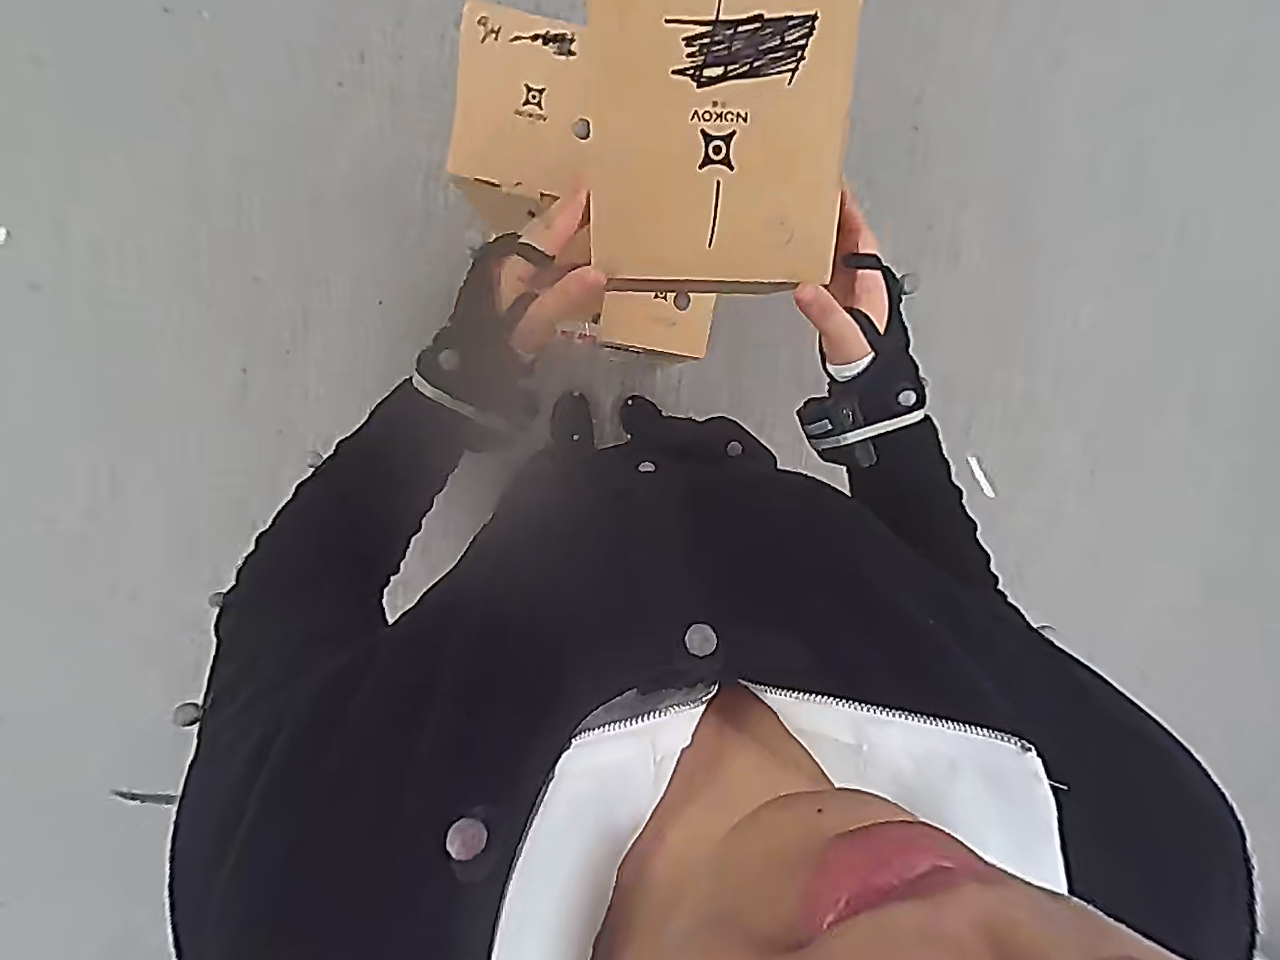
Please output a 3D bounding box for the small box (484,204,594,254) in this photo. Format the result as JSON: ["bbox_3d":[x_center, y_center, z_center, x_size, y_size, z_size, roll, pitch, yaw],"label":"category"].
[{"bbox_3d":[-0.132,-0.466,0.827,0.168,0.176,0.179,8,101,-5],"label":"small box"}]

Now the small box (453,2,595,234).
[{"bbox_3d":[-0.118,-0.424,0.669,0.168,0.176,0.179,9,102,-5],"label":"small box"}]

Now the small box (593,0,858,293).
[{"bbox_3d":[0.047,-0.244,0.422,0.168,0.176,0.179,0,107,-2],"label":"small box"}]
